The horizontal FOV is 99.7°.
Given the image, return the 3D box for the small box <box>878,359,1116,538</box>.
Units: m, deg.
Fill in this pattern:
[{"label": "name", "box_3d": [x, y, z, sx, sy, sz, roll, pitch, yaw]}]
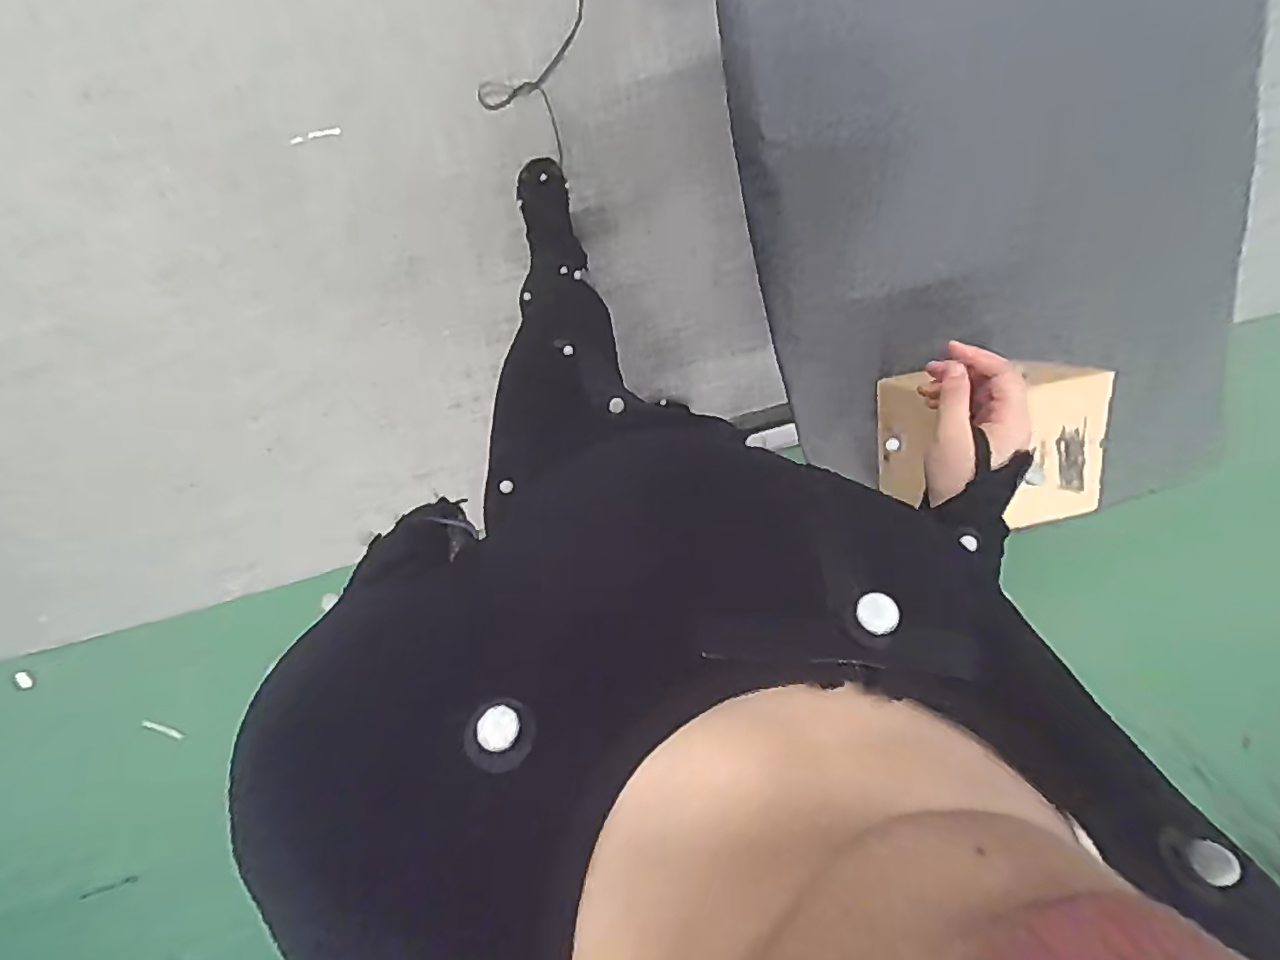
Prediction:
[{"label": "small box", "box_3d": [0.420, -0.050, 0.664, 0.179, 0.176, 0.168, -11, 107, -4]}]
